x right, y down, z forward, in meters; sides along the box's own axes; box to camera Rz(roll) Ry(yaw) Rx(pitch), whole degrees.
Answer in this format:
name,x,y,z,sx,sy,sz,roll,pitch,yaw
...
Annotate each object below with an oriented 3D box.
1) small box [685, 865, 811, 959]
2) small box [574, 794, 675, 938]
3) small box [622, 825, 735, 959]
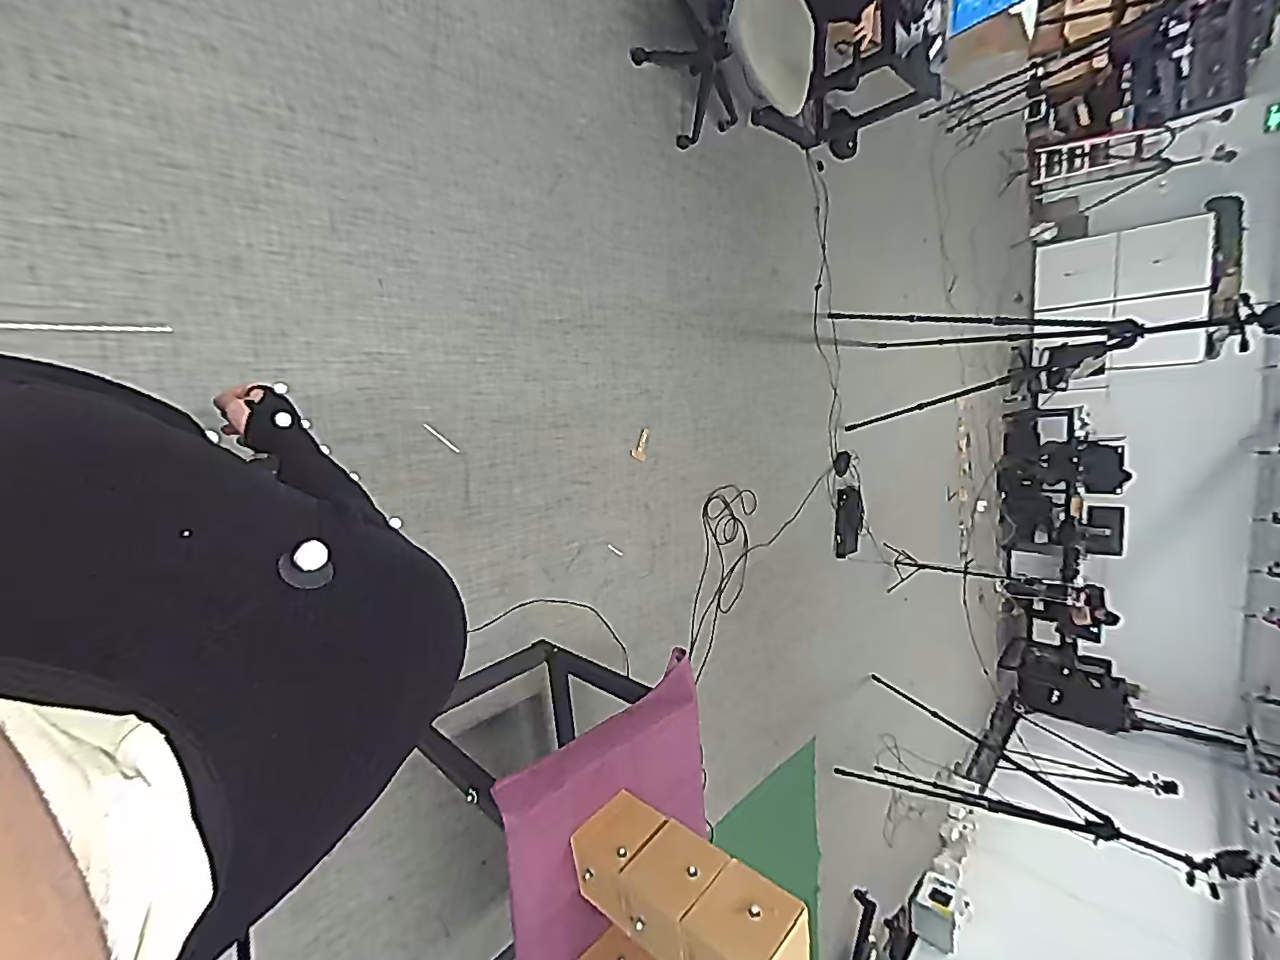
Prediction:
name,x,y,z,sx,sy,sz,roll,pitch,yaw
small box,0.205,0.884,1.015,0.179,0.176,0.168,-18,105,-44
small box,-0.028,0.874,1.247,0.179,0.176,0.168,-19,107,-42
small box,0.087,0.875,1.129,0.179,0.176,0.168,-21,107,-42
